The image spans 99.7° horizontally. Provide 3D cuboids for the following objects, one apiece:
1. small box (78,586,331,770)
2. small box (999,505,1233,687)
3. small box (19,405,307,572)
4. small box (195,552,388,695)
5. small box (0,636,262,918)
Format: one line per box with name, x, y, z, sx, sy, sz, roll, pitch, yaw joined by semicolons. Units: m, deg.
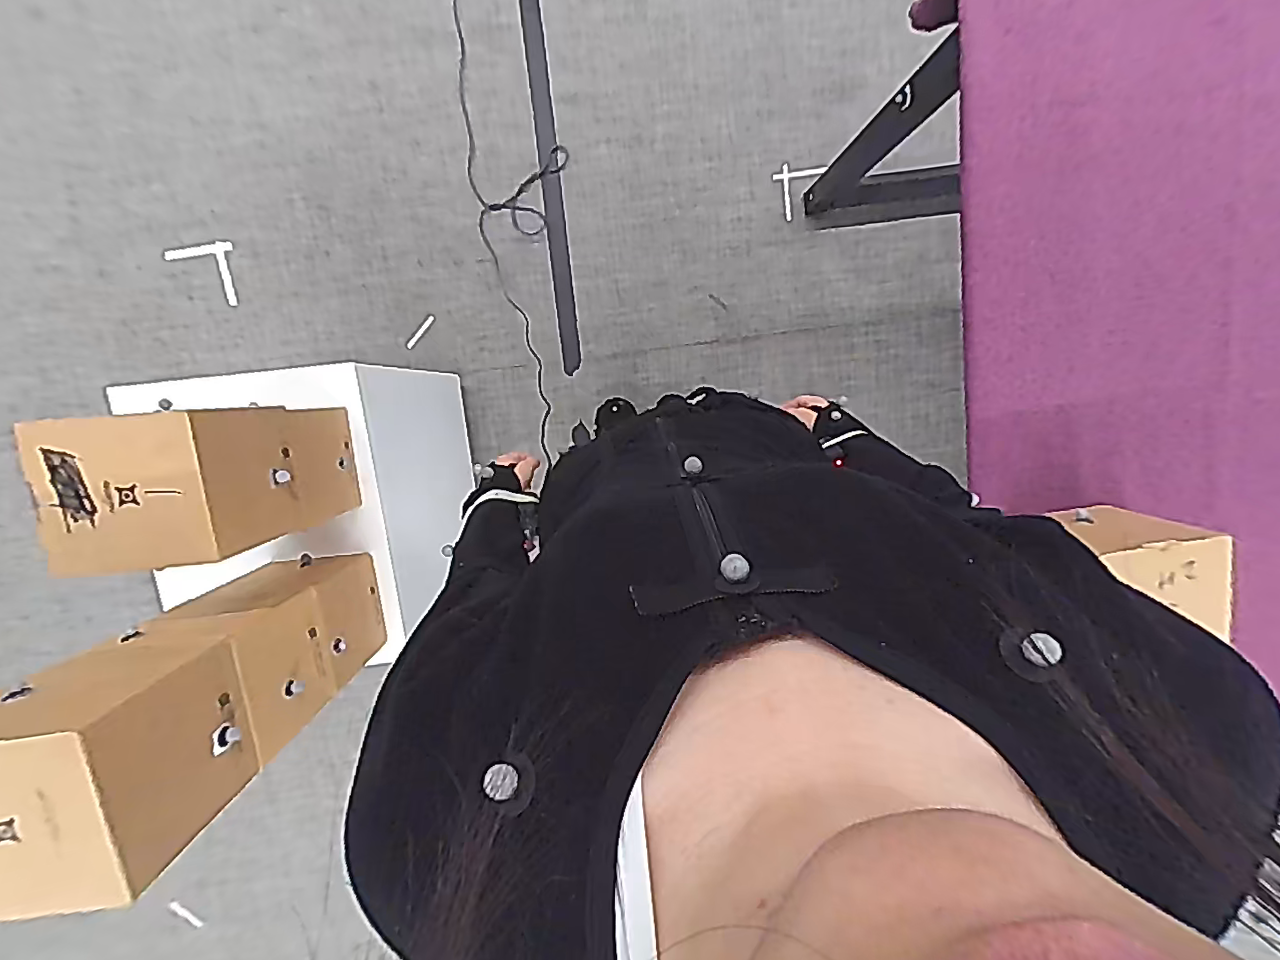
small box;-0.519;0.244;0.679;0.179;0.176;0.168;-7;99;0
small box;0.611;0.143;0.717;0.168;0.176;0.179;-8;99;-1
small box;-0.536;0.000;0.636;0.179;0.176;0.168;-5;100;-2
small box;-0.524;0.218;0.839;0.179;0.176;0.168;-6;100;1
small box;-0.517;0.269;0.518;0.179;0.176;0.168;-8;100;-1
